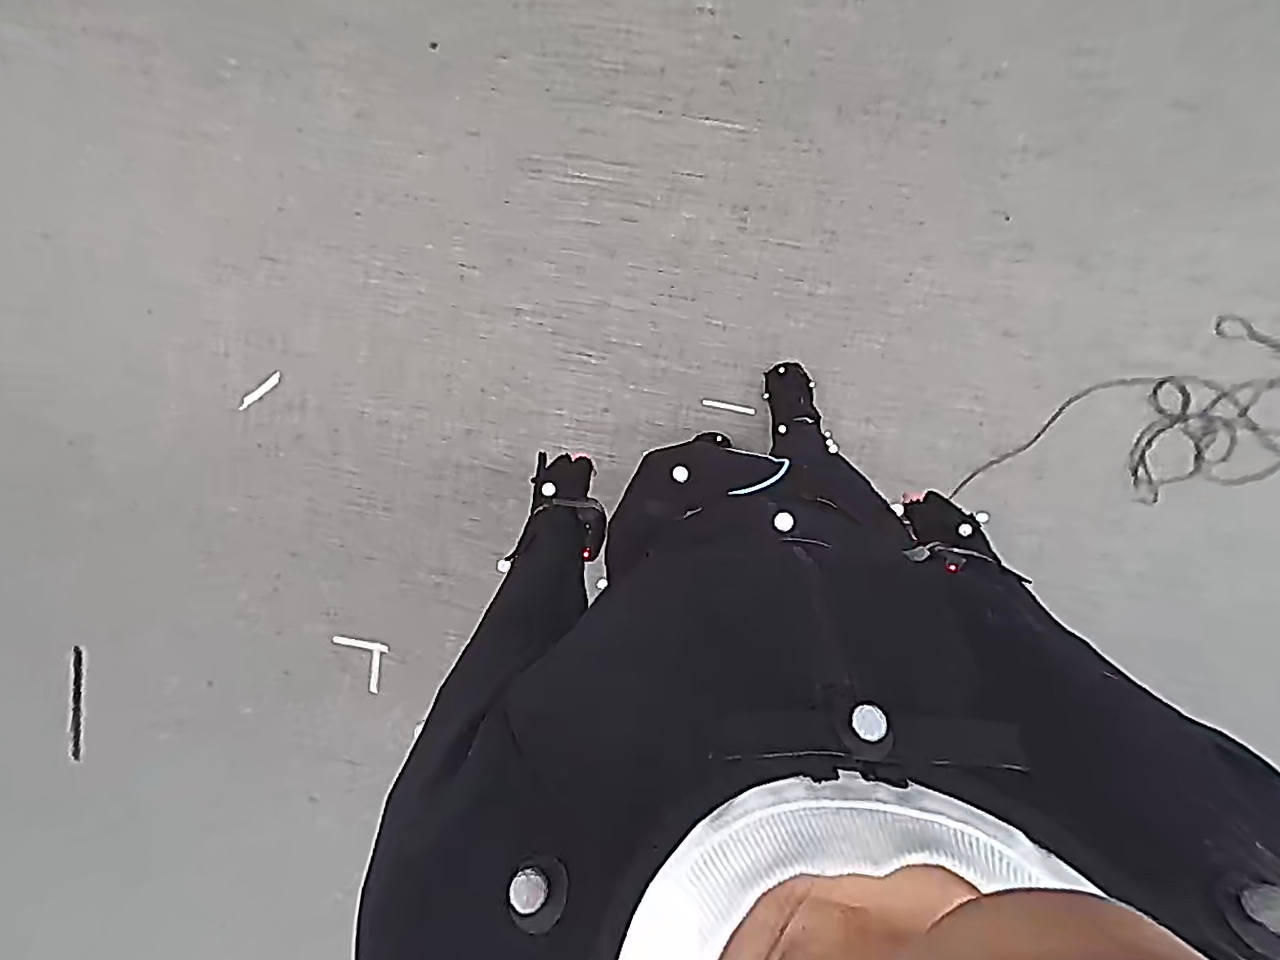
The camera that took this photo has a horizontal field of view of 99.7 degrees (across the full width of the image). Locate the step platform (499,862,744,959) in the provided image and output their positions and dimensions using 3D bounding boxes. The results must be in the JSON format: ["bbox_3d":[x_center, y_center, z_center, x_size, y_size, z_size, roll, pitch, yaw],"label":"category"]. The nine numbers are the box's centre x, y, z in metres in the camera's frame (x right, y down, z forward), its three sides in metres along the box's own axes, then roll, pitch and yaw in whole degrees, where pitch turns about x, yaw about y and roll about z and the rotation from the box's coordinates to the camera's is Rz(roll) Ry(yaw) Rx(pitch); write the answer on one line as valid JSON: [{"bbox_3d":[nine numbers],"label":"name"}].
[{"bbox_3d":[-0.052,1.355,1.539,0.684,0.204,0.286,11,98,6],"label":"step platform"}]
